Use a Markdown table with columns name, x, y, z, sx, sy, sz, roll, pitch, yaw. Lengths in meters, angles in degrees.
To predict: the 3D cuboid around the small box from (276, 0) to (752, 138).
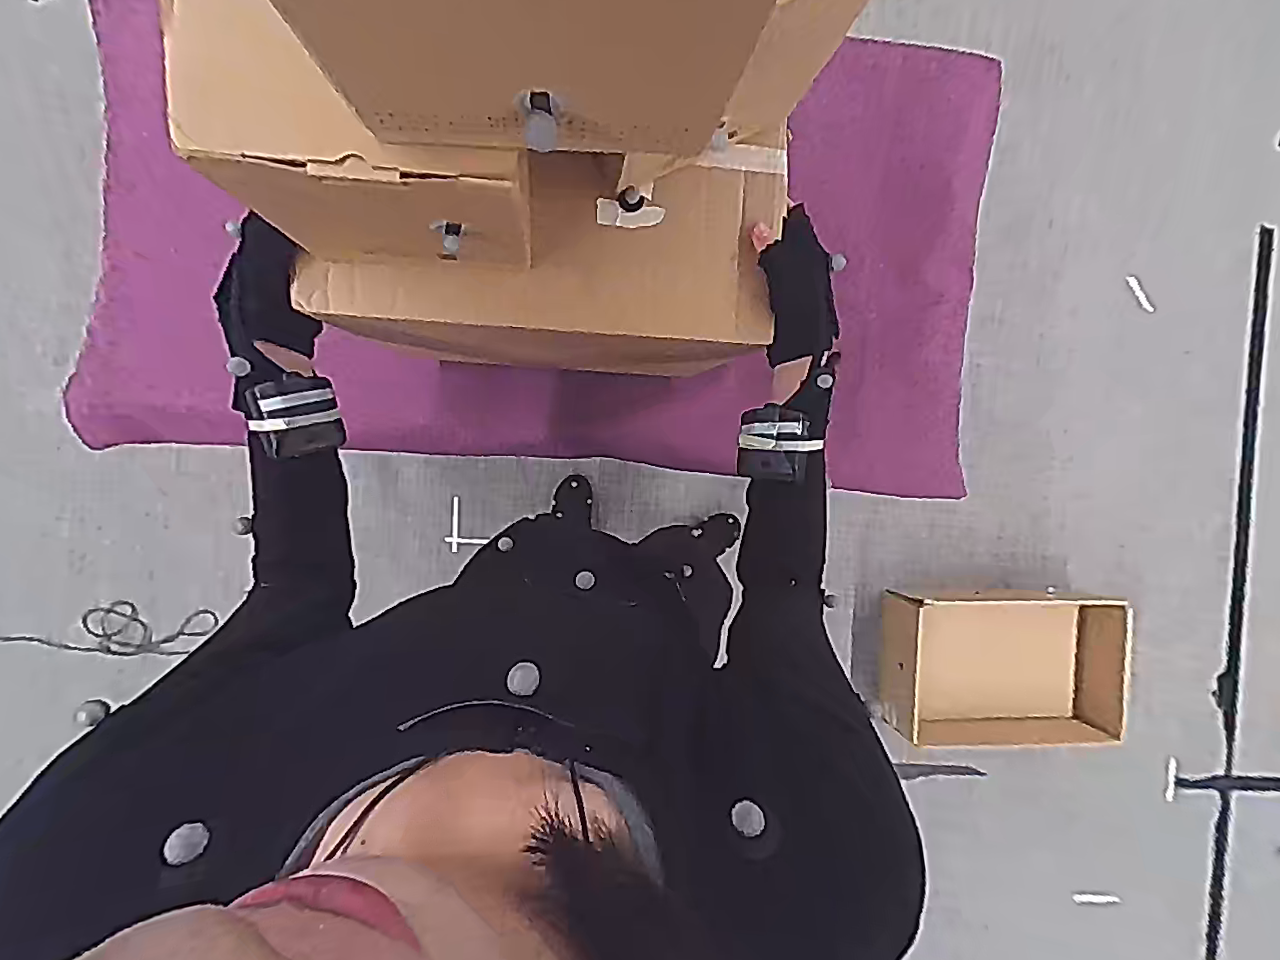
| name | x | y | z | sx | sy | sz | roll | pitch | yaw |
| --- | --- | --- | --- | --- | --- | --- | --- | --- | --- |
| small box | -0.044 | -0.248 | 0.189 | 0.179 | 0.176 | 0.168 | -1 | 96 | -7 |

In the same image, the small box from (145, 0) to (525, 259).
| name | x | y | z | sx | sy | sz | roll | pitch | yaw |
| --- | --- | --- | --- | --- | --- | --- | --- | --- | --- |
| small box | -0.159 | -0.253 | 0.339 | 0.168 | 0.176 | 0.179 | 0 | 95 | -10 |

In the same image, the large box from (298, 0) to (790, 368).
| name | x | y | z | sx | sy | sz | roll | pitch | yaw |
| --- | --- | --- | --- | --- | --- | --- | --- | --- | --- |
| large box | -0.094 | -0.299 | 0.591 | 0.408 | 0.320 | 0.320 | 1 | 96 | -9 |
